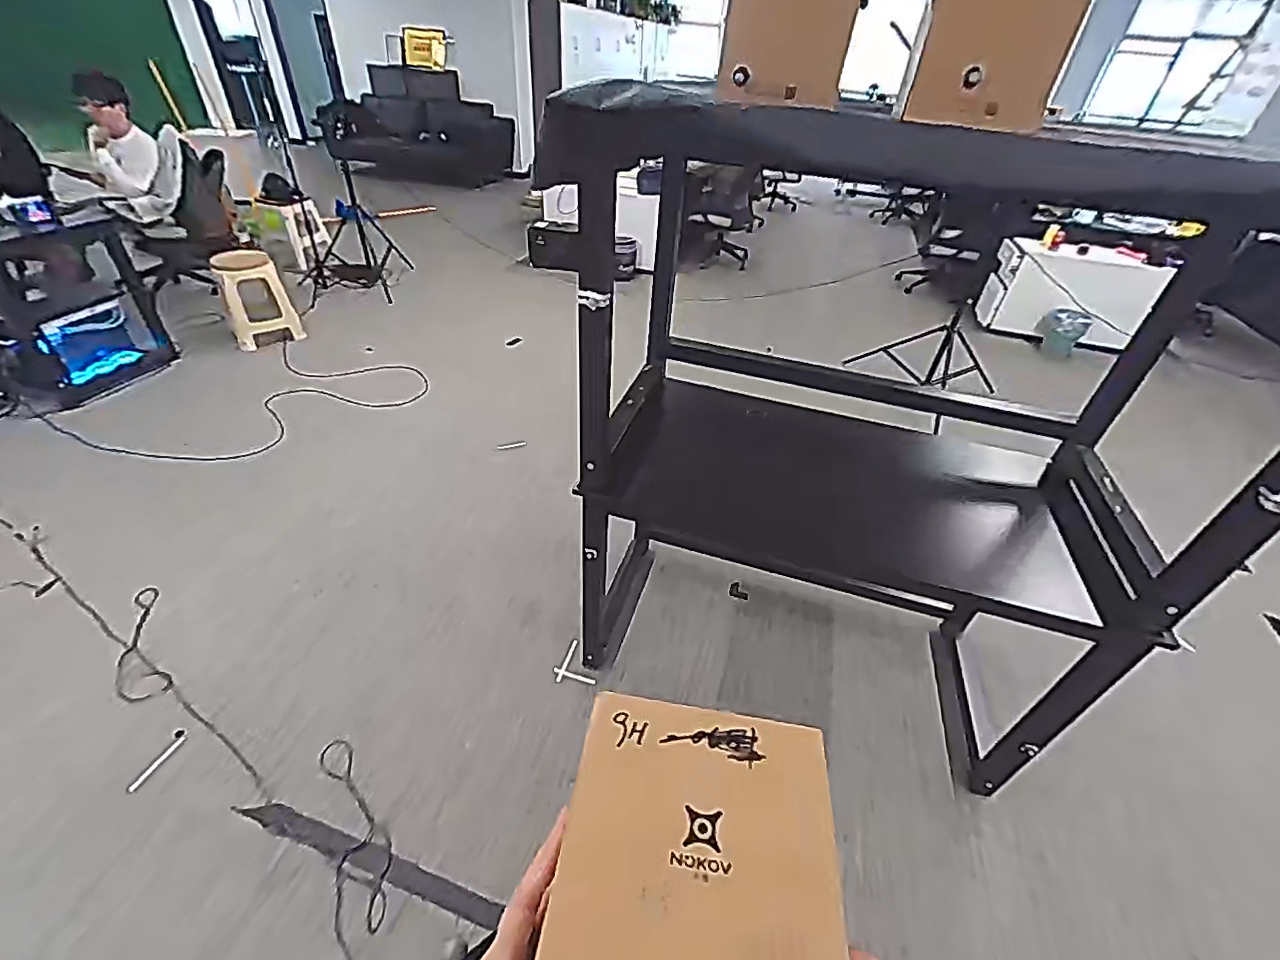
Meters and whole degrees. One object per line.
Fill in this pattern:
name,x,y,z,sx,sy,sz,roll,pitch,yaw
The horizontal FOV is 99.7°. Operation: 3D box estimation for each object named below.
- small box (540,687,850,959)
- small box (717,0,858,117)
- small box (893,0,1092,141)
small box,0.035,0.279,0.378,0.168,0.176,0.179,9,40,4
small box,0.209,-0.623,0.767,0.168,0.176,0.179,13,37,8
small box,0.456,-0.568,0.726,0.168,0.176,0.179,13,38,11
